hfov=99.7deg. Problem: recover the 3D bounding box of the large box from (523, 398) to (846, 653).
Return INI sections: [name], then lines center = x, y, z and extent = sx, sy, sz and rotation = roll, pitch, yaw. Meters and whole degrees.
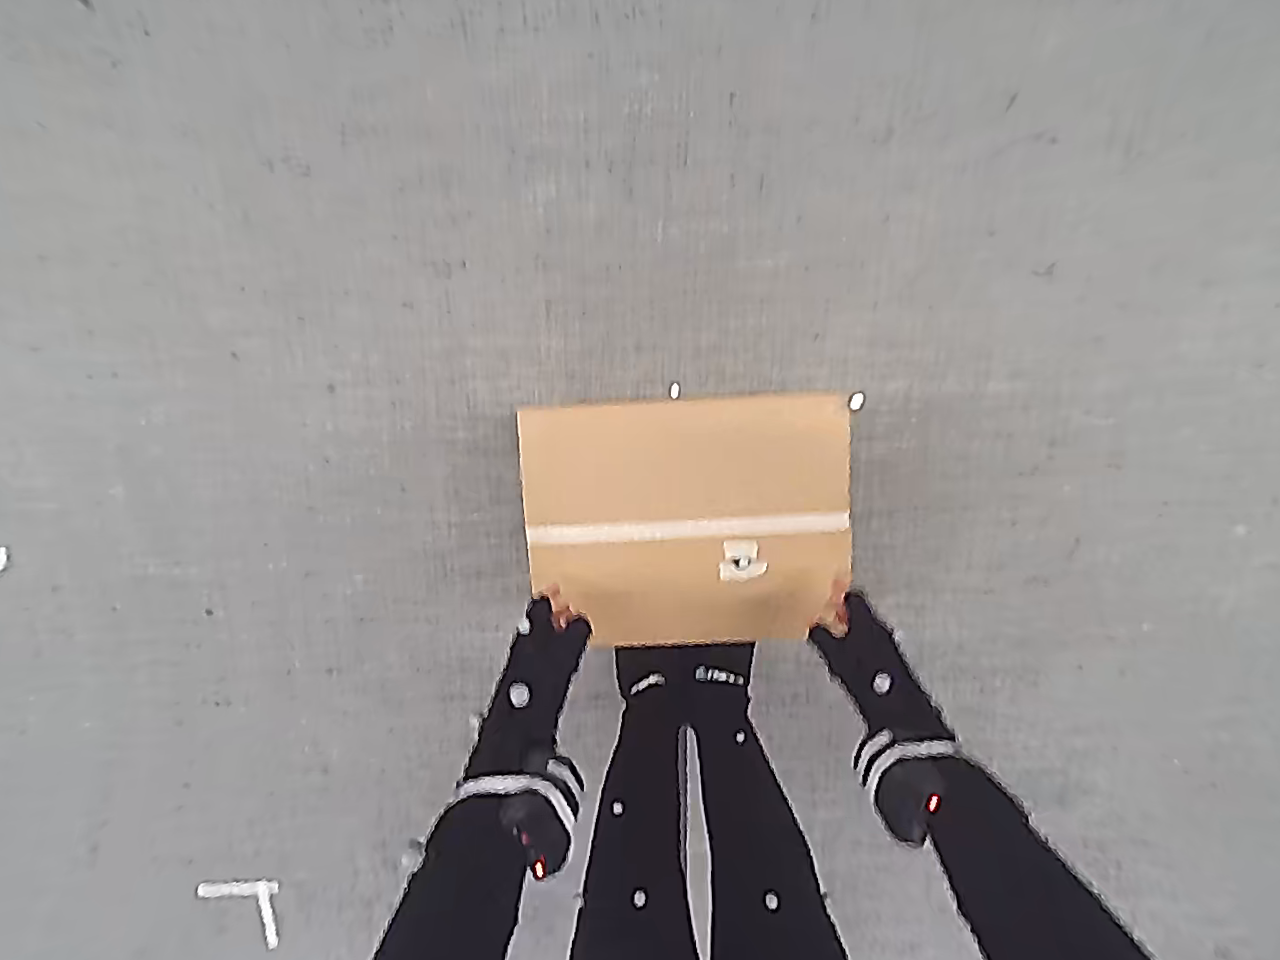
[large box]
center = 0.061, 0.045, 0.836
extent = 0.408, 0.320, 0.320
rotation = -3, 99, 1
